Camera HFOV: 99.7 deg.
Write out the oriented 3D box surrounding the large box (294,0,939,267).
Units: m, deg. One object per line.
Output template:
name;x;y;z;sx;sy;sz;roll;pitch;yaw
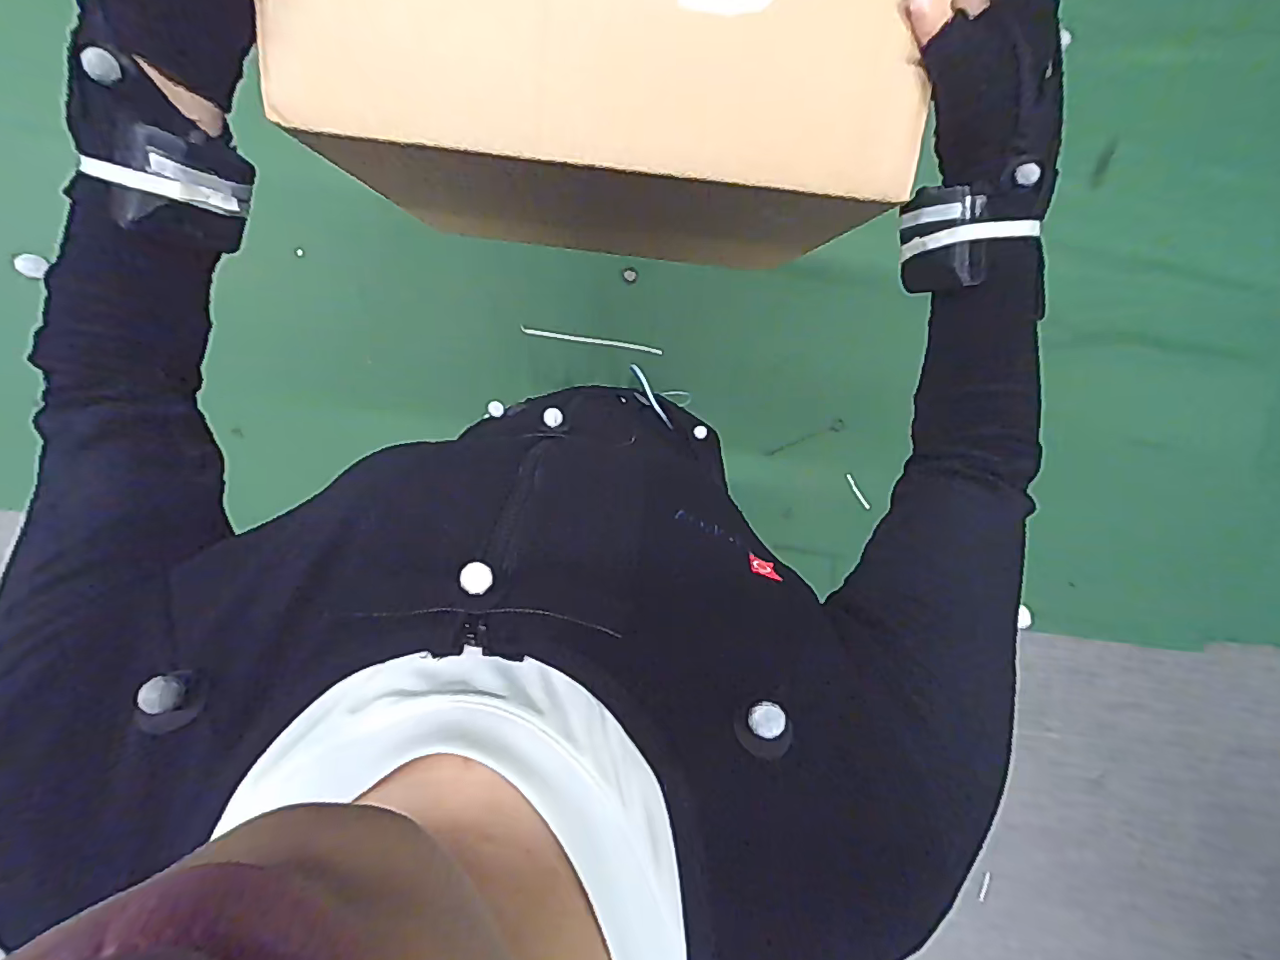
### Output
large box;-0.012;-0.386;0.467;0.408;0.320;0.320;5;103;-4
